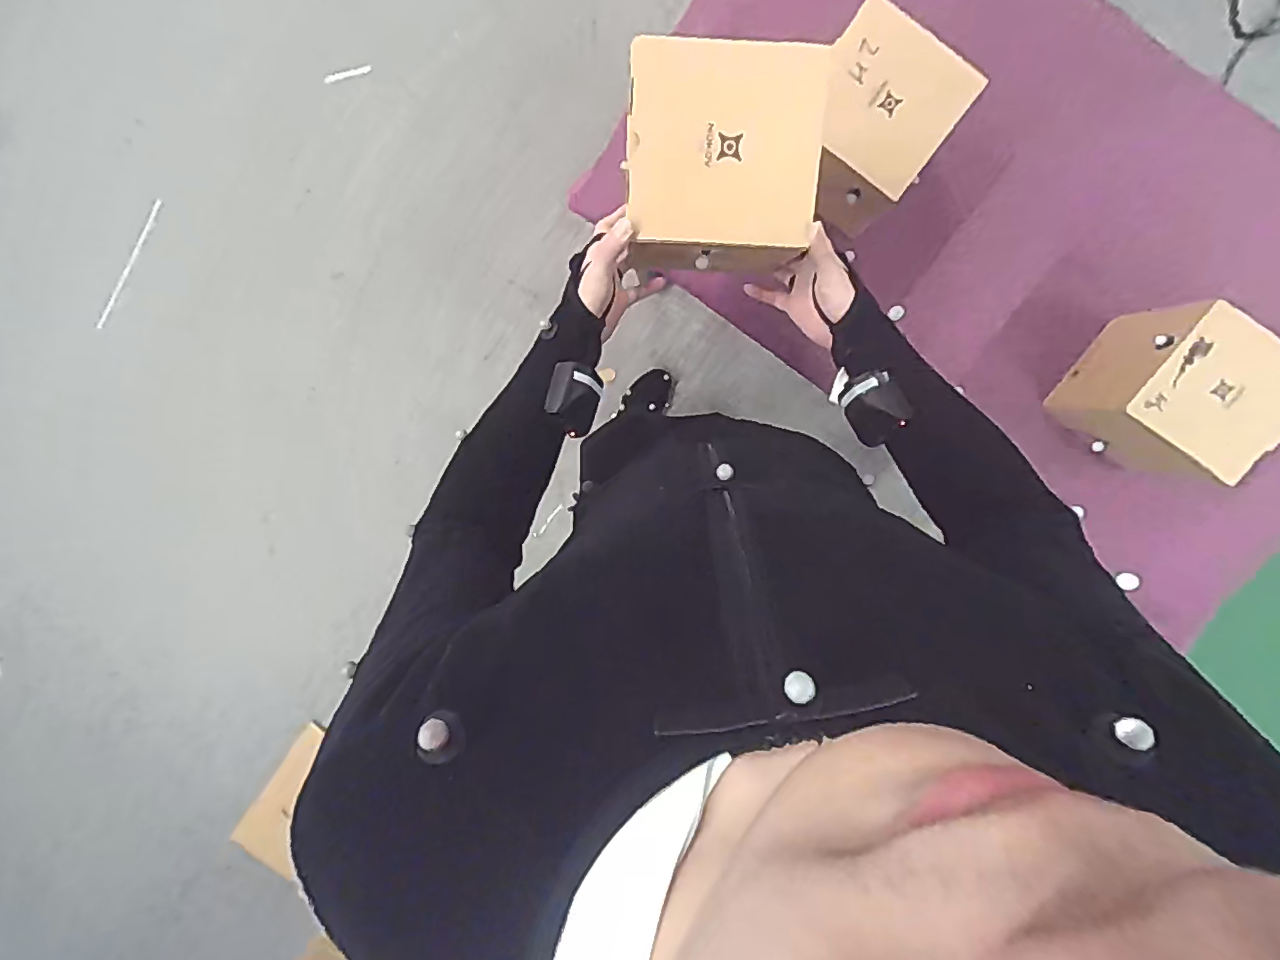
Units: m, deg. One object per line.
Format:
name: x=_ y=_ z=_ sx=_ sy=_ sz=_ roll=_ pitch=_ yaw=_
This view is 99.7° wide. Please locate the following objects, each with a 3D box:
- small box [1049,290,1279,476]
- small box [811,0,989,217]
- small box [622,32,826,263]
small box: x=0.730 y=-0.131 z=0.740 sx=0.179 sy=0.176 sz=0.168 roll=35 pitch=101 yaw=-1
small box: x=0.300 y=-0.481 z=0.721 sx=0.179 sy=0.176 sz=0.168 roll=37 pitch=101 yaw=-2
small box: x=0.074 y=-0.326 z=0.564 sx=0.179 sy=0.176 sz=0.168 roll=2 pitch=105 yaw=2
